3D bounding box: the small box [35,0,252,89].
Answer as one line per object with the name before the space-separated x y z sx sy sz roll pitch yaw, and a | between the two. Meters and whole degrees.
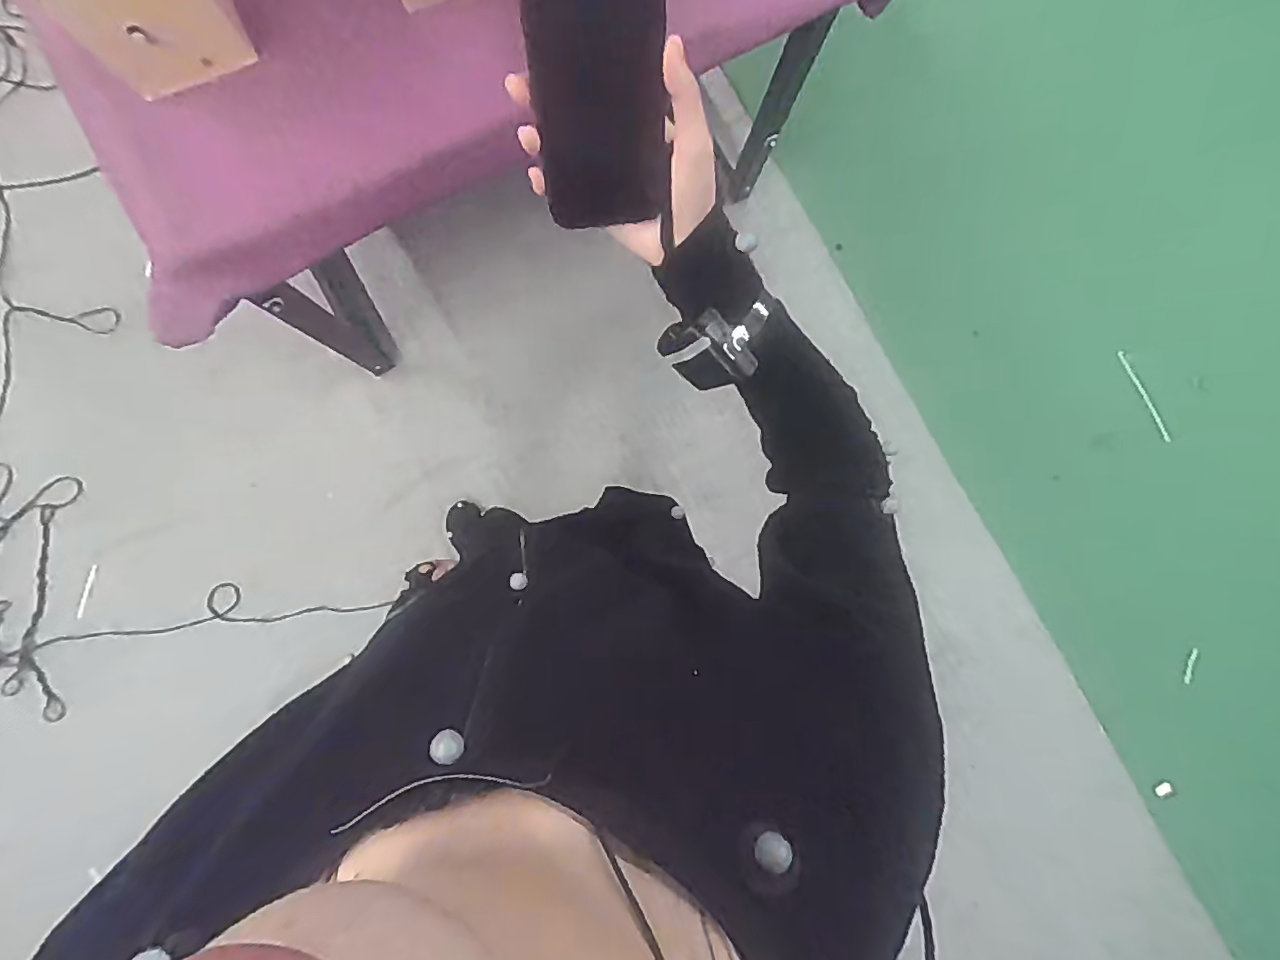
small box | -0.647 -0.646 0.687 0.168 0.176 0.179 -26 89 -5
